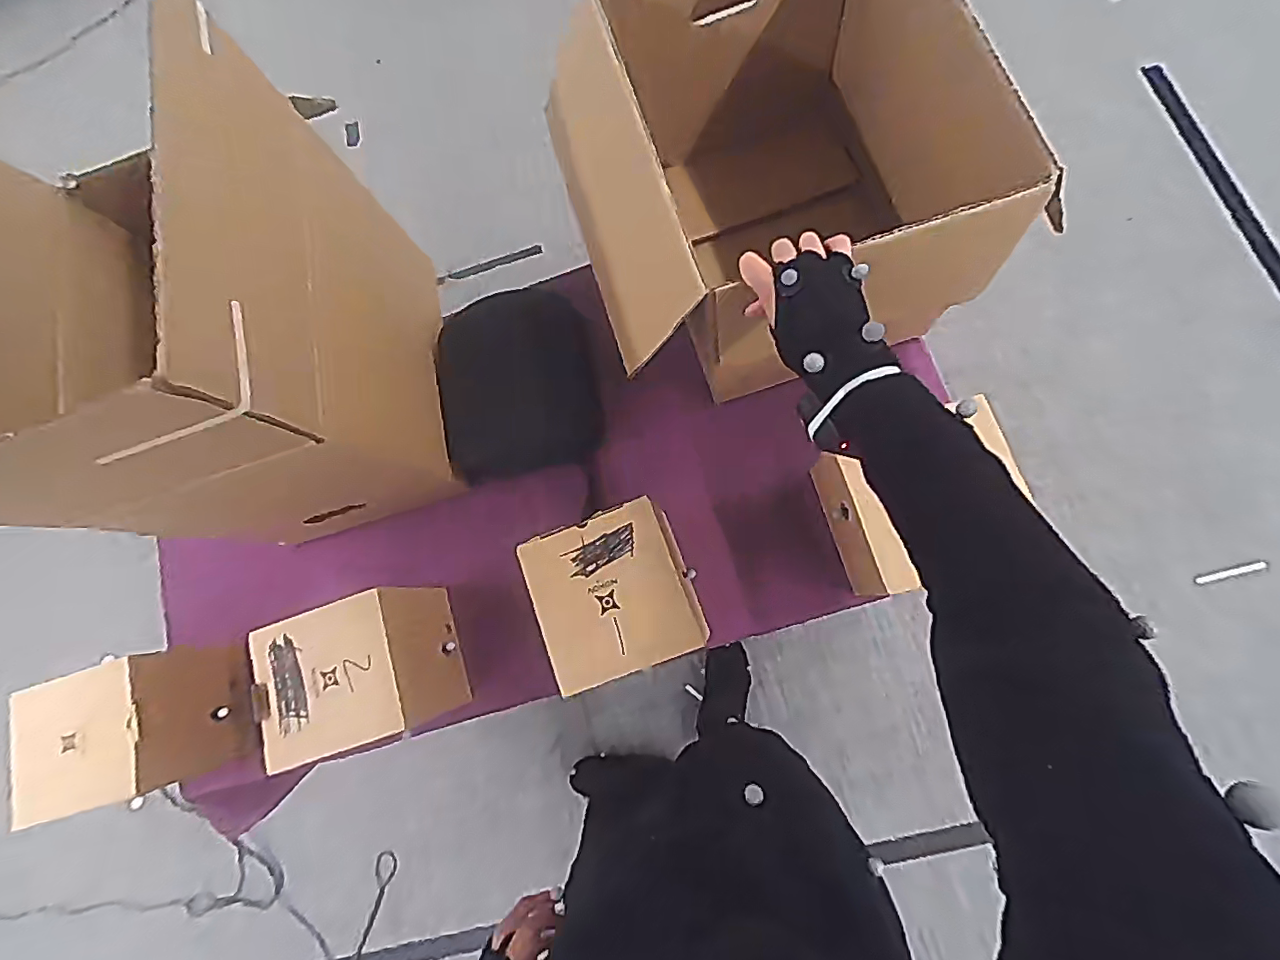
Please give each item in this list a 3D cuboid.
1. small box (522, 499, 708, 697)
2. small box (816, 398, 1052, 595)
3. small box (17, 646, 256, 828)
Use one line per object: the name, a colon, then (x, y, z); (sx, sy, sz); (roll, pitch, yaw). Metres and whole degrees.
small box: (-0.022, 0.143, 0.670); (0.168, 0.176, 0.179); (-21, 77, 5)
small box: (0.319, 0.031, 0.634); (0.168, 0.176, 0.179); (-17, 76, 7)
small box: (-0.675, 0.336, 0.739); (0.179, 0.176, 0.168); (-18, 77, 4)
